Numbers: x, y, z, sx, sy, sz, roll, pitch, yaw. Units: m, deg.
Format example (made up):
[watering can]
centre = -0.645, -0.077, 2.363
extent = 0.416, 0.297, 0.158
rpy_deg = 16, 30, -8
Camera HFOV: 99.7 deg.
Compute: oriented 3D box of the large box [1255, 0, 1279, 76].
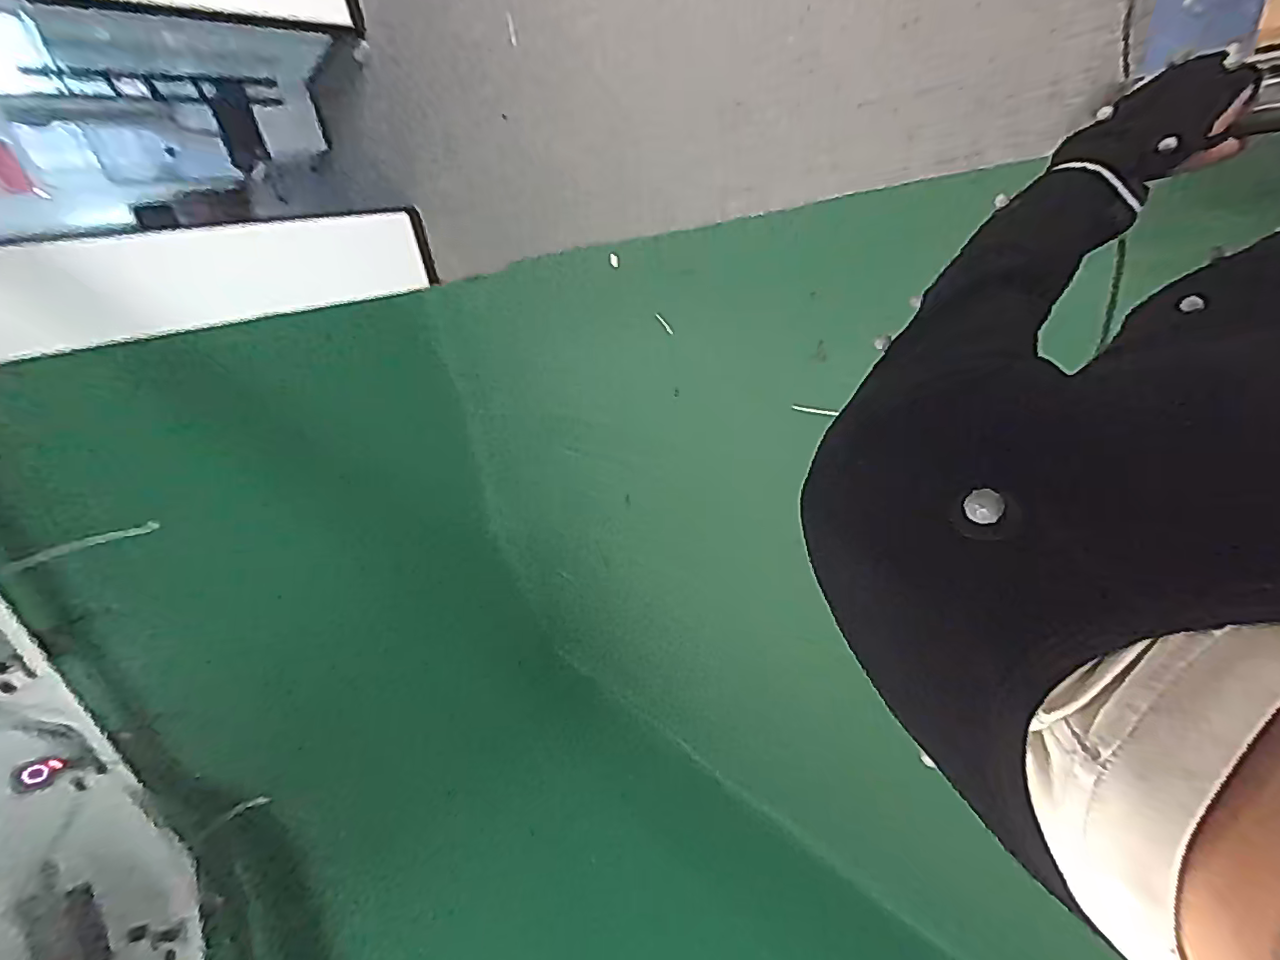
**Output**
[large box]
centre = 0.963, -0.737, 0.588
extent = 0.320, 0.320, 0.408
rpy_deg = 17, 123, 44
